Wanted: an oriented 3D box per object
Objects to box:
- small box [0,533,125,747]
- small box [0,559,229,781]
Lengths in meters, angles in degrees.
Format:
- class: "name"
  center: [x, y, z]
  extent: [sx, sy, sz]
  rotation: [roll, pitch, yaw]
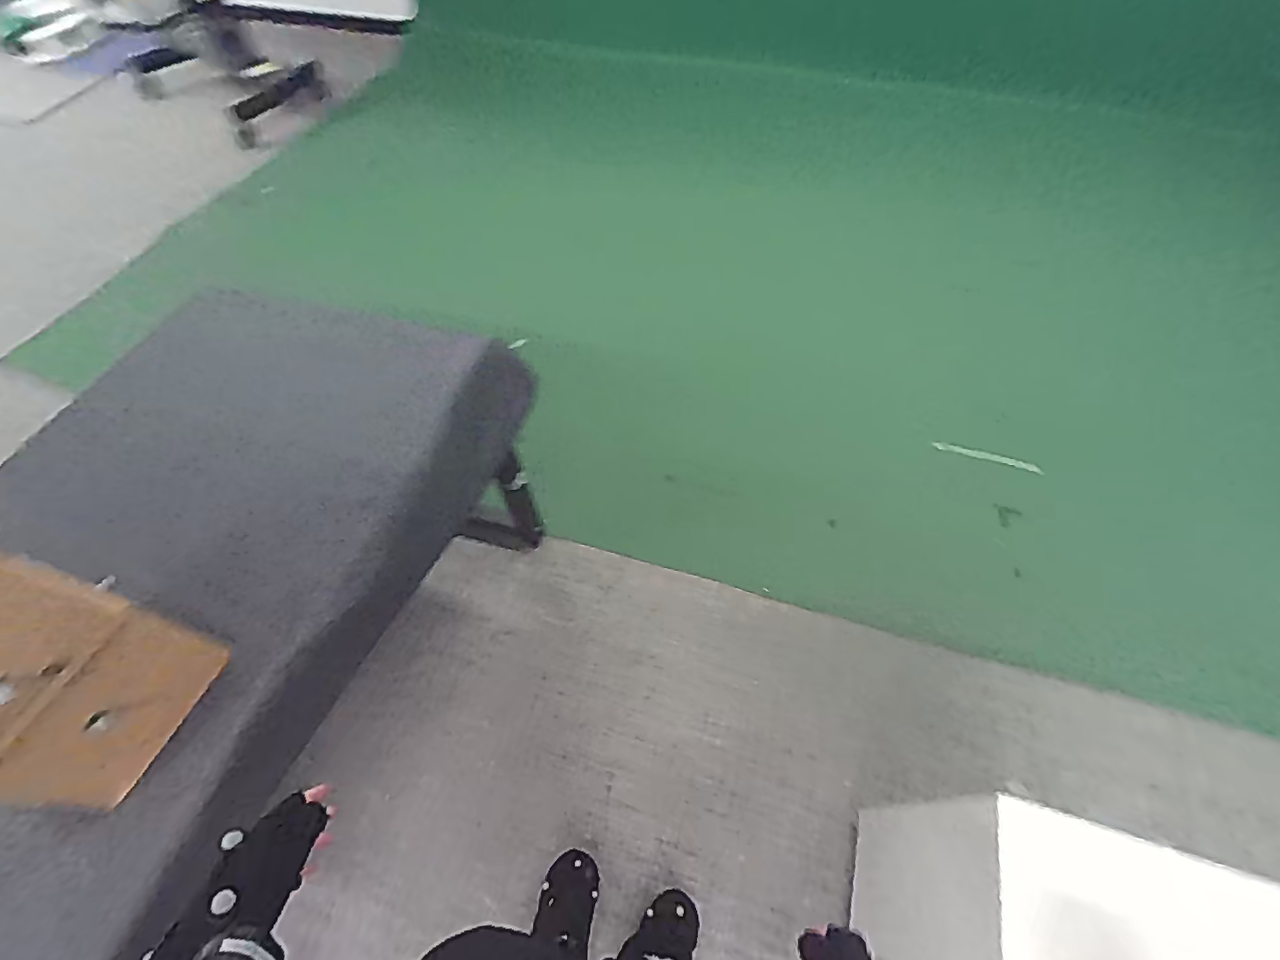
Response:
- class: "small box"
  center: [-0.608, 0.114, 0.441]
  extent: [0.179, 0.176, 0.168]
  rotation: [13, 59, 12]
- class: "small box"
  center: [-0.607, 0.202, 0.581]
  extent: [0.168, 0.176, 0.179]
  rotation: [17, 60, 12]
